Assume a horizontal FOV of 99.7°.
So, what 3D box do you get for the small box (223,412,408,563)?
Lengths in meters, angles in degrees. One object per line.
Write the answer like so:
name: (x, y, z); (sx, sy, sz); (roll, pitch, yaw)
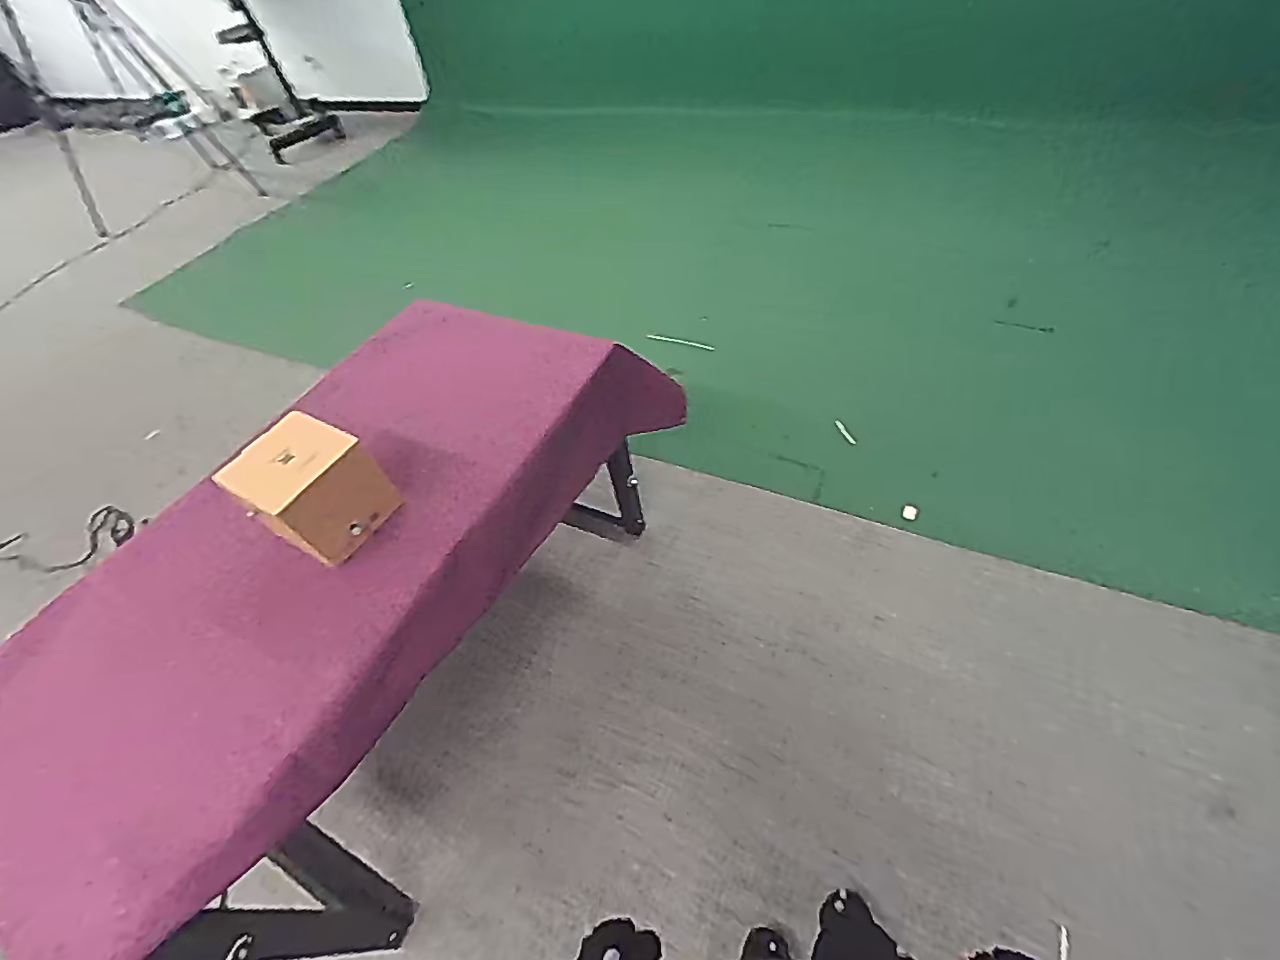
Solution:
small box: (-0.545, 0.016, 0.929); (0.179, 0.176, 0.168); (22, 59, 24)
